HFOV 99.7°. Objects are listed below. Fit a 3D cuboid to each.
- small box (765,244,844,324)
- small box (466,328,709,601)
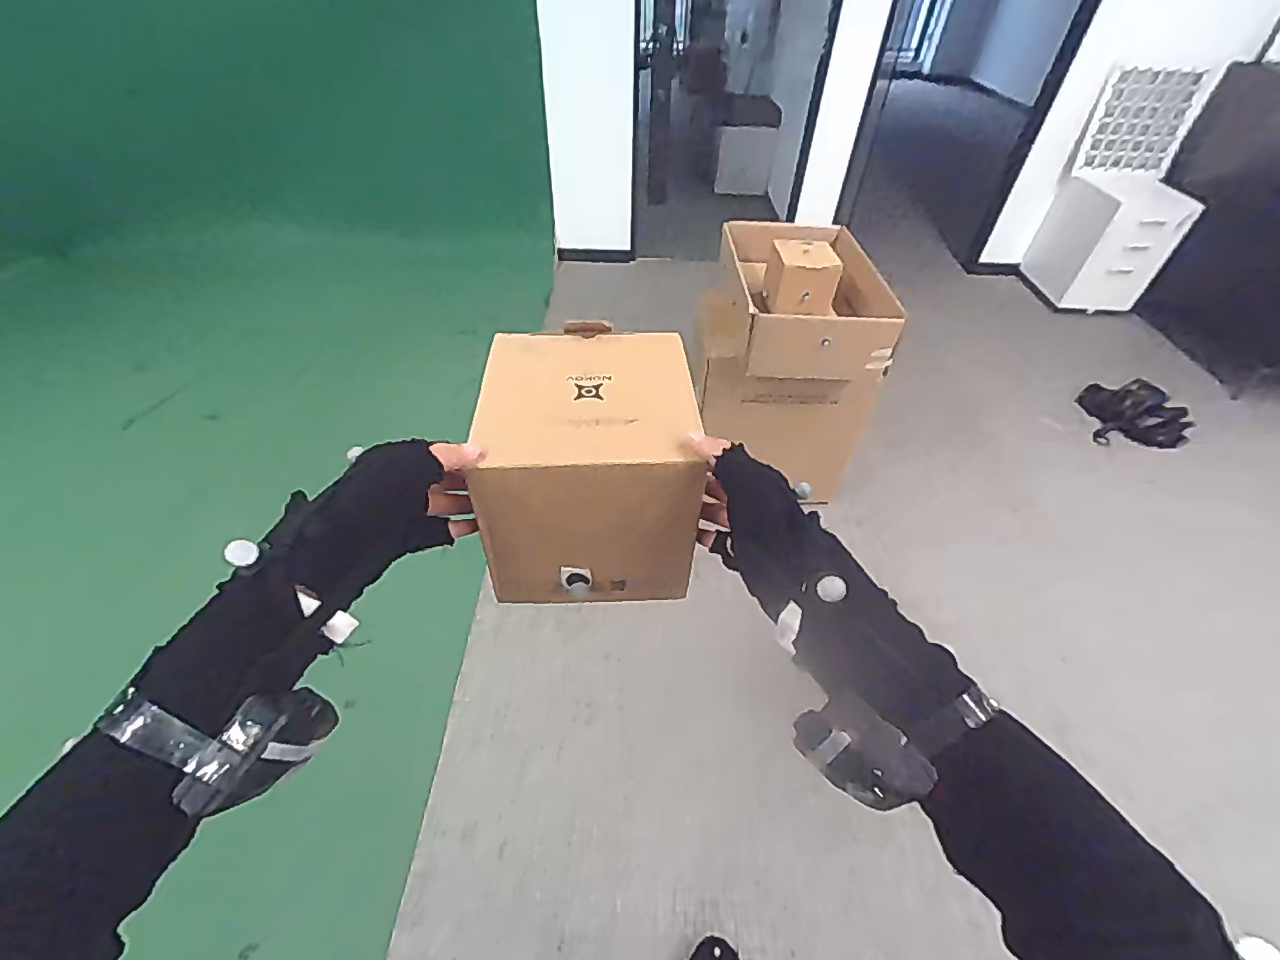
[{"bbox_3d":[0.475,-0.574,1.589,0.168,0.176,0.179,1,45,-3],"label":"small box"},{"bbox_3d":[-0.041,-0.015,0.474,0.168,0.176,0.179,0,43,-3],"label":"small box"}]
